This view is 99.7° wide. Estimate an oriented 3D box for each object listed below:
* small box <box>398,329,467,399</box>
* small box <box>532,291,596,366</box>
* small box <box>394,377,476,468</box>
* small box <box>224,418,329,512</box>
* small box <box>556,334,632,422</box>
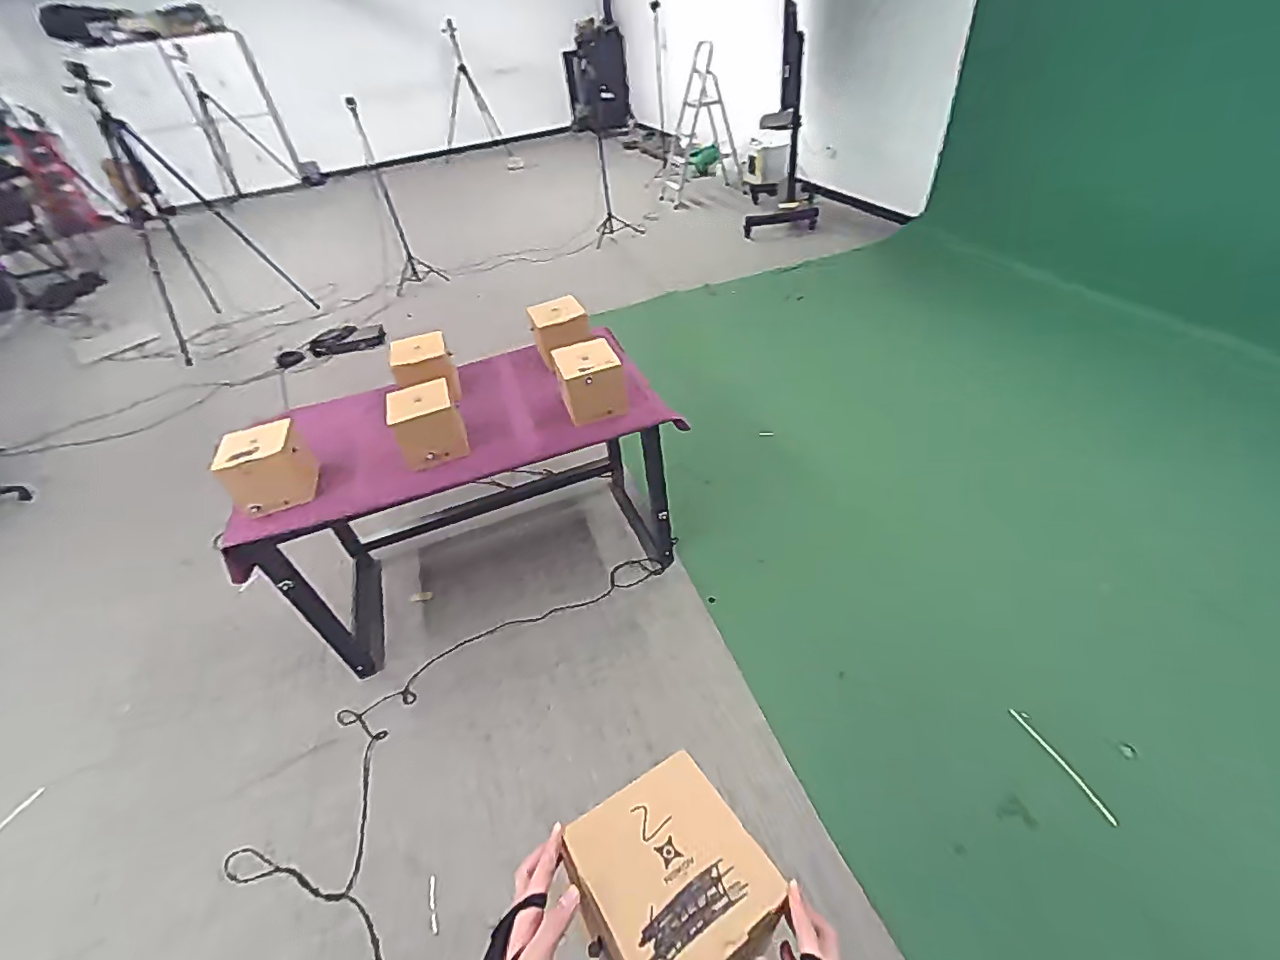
[{"bbox_3d":[-0.676,-0.364,1.768,0.168,0.176,0.179,-17,45,-9],"label":"small box"},{"bbox_3d":[-0.252,-0.515,1.844,0.168,0.176,0.179,-22,44,-9],"label":"small box"},{"bbox_3d":[-0.579,-0.162,1.530,0.168,0.176,0.179,-20,42,-9],"label":"small box"},{"bbox_3d":[-0.970,-0.035,1.462,0.168,0.176,0.179,-19,41,-10],"label":"small box"},{"bbox_3d":[-0.134,-0.298,1.589,0.168,0.176,0.179,-19,43,-8],"label":"small box"}]
